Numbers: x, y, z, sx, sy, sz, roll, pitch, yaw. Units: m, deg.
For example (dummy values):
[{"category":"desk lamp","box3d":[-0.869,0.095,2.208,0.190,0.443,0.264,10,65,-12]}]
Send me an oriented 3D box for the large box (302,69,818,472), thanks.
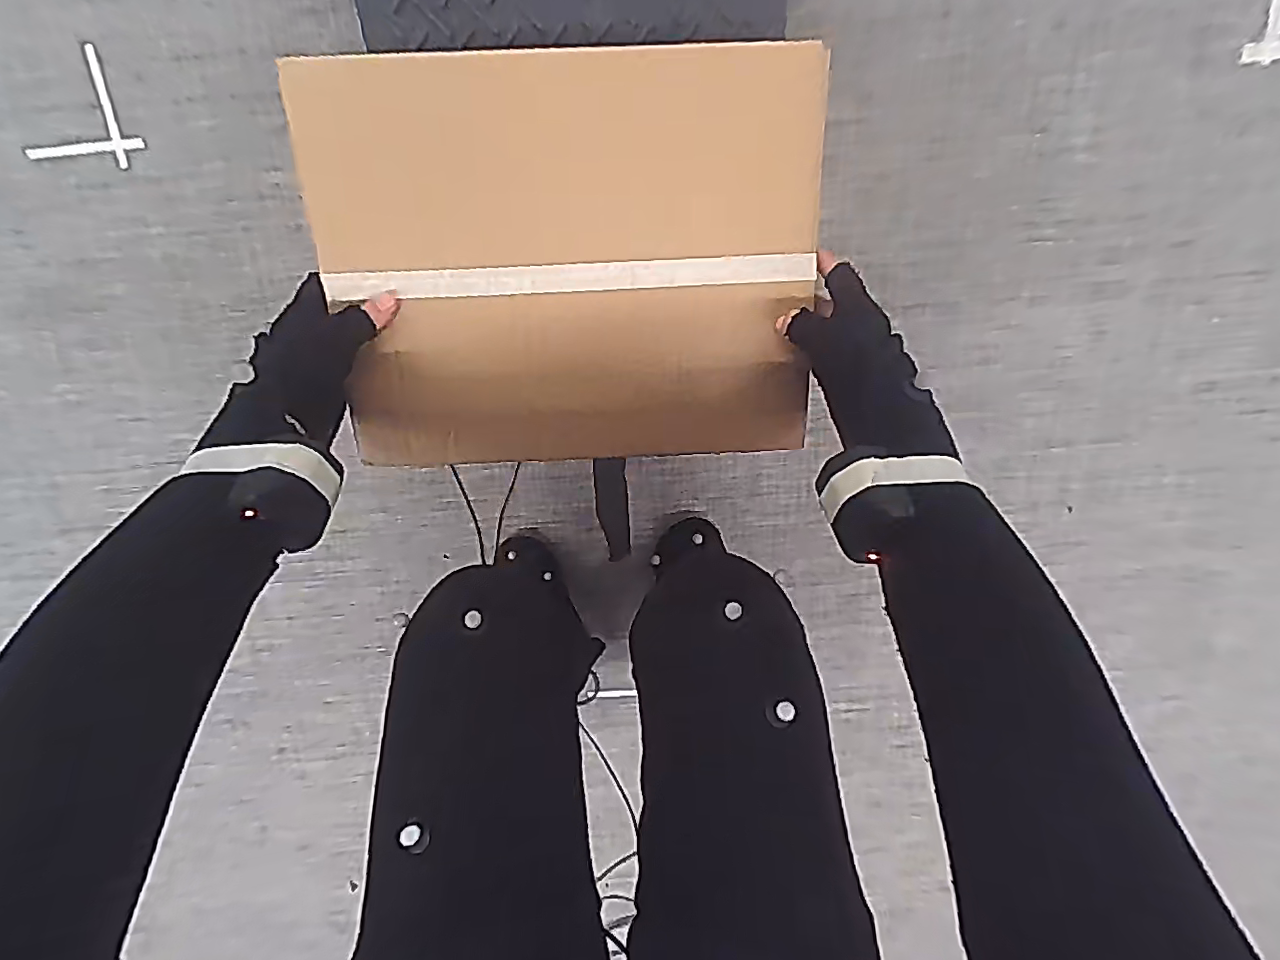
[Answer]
[{"category":"large box","box3d":[-0.058,-0.208,0.598,0.408,0.320,0.320,-2,108,-1]}]
